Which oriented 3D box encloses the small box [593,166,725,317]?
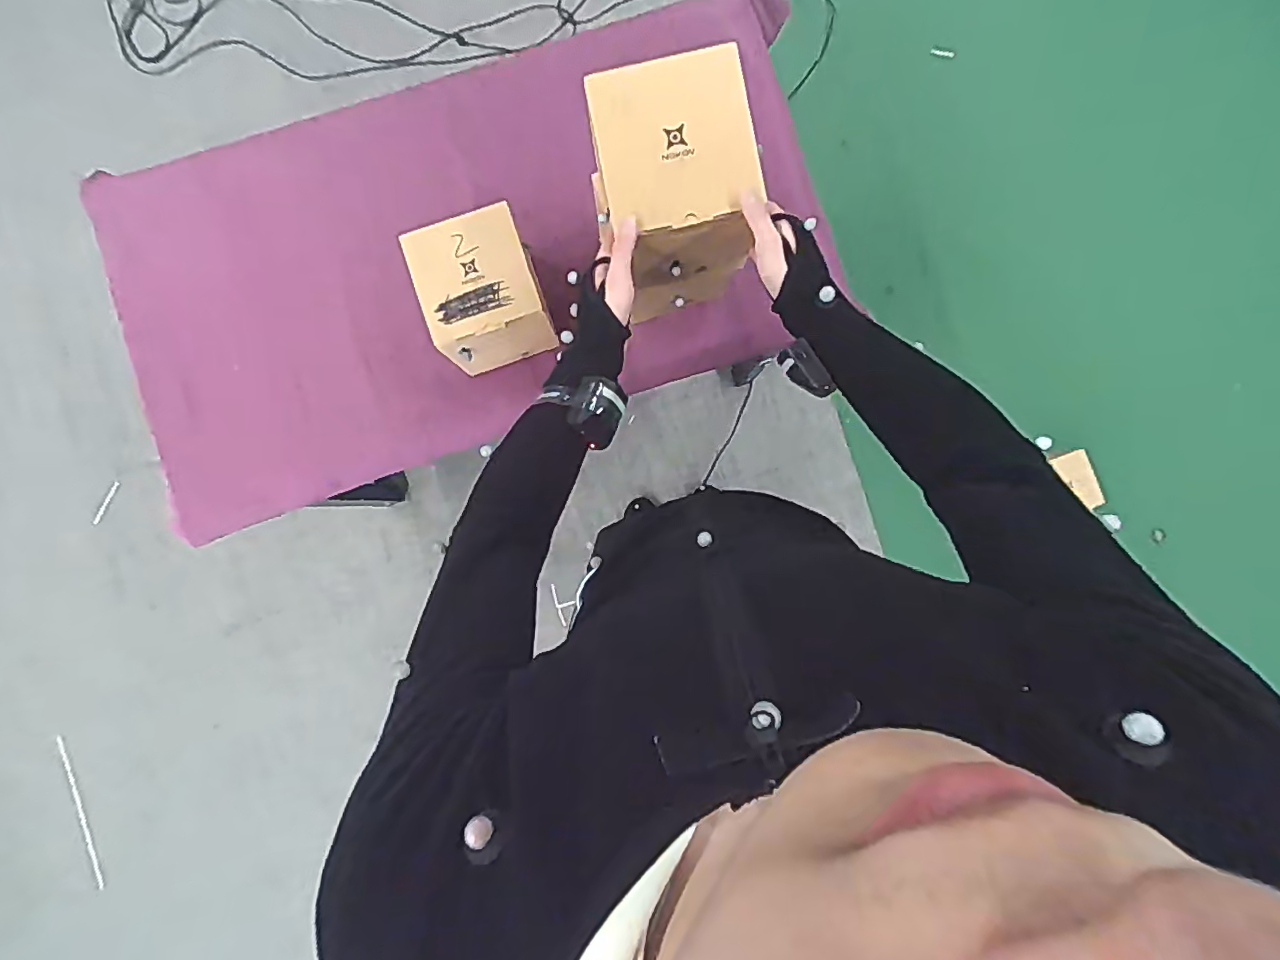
[{"bbox_3d":[0.032,-0.388,0.855,0.168,0.176,0.179,-18,87,-1],"label":"small box"}]

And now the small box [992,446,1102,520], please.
[{"bbox_3d":[1.173,0.014,1.579,0.179,0.176,0.168,-20,88,-2],"label":"small box"}]

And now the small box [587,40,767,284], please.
[{"bbox_3d":[0.038,-0.358,0.641,0.168,0.176,0.179,-11,93,1],"label":"small box"}]
